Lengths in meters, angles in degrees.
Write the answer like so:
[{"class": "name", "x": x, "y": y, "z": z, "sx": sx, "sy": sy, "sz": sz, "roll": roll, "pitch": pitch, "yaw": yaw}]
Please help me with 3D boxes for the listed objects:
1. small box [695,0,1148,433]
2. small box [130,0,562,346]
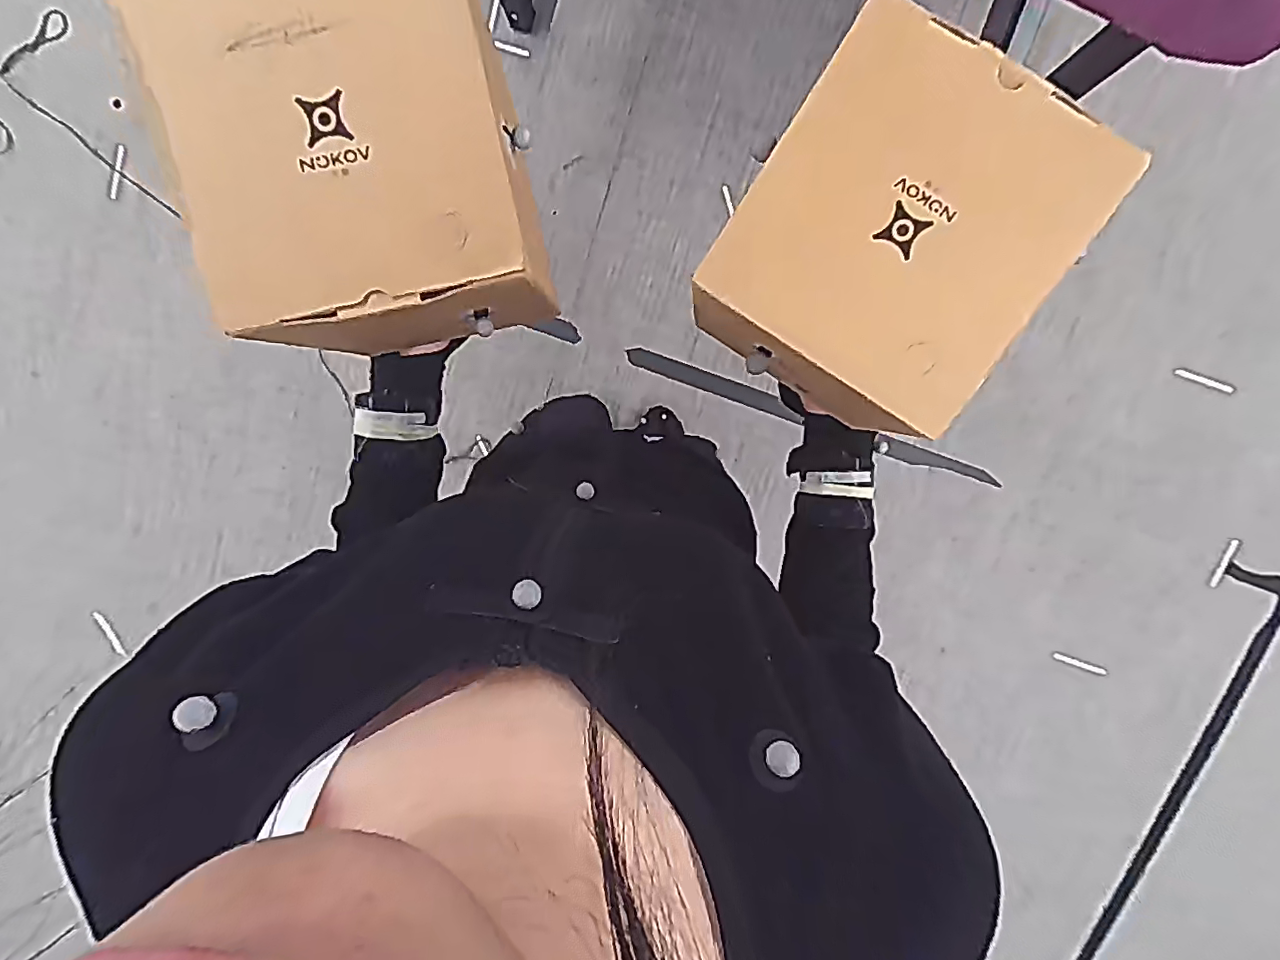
[{"class": "small box", "x": 0.154, "y": -0.148, "z": 0.368, "sx": 0.168, "sy": 0.176, "sz": 0.179, "roll": 34, "pitch": 98, "yaw": 2}, {"class": "small box", "x": -0.152, "y": -0.189, "z": 0.350, "sx": 0.168, "sy": 0.176, "sz": 0.179, "roll": -12, "pitch": 99, "yaw": -1}]
